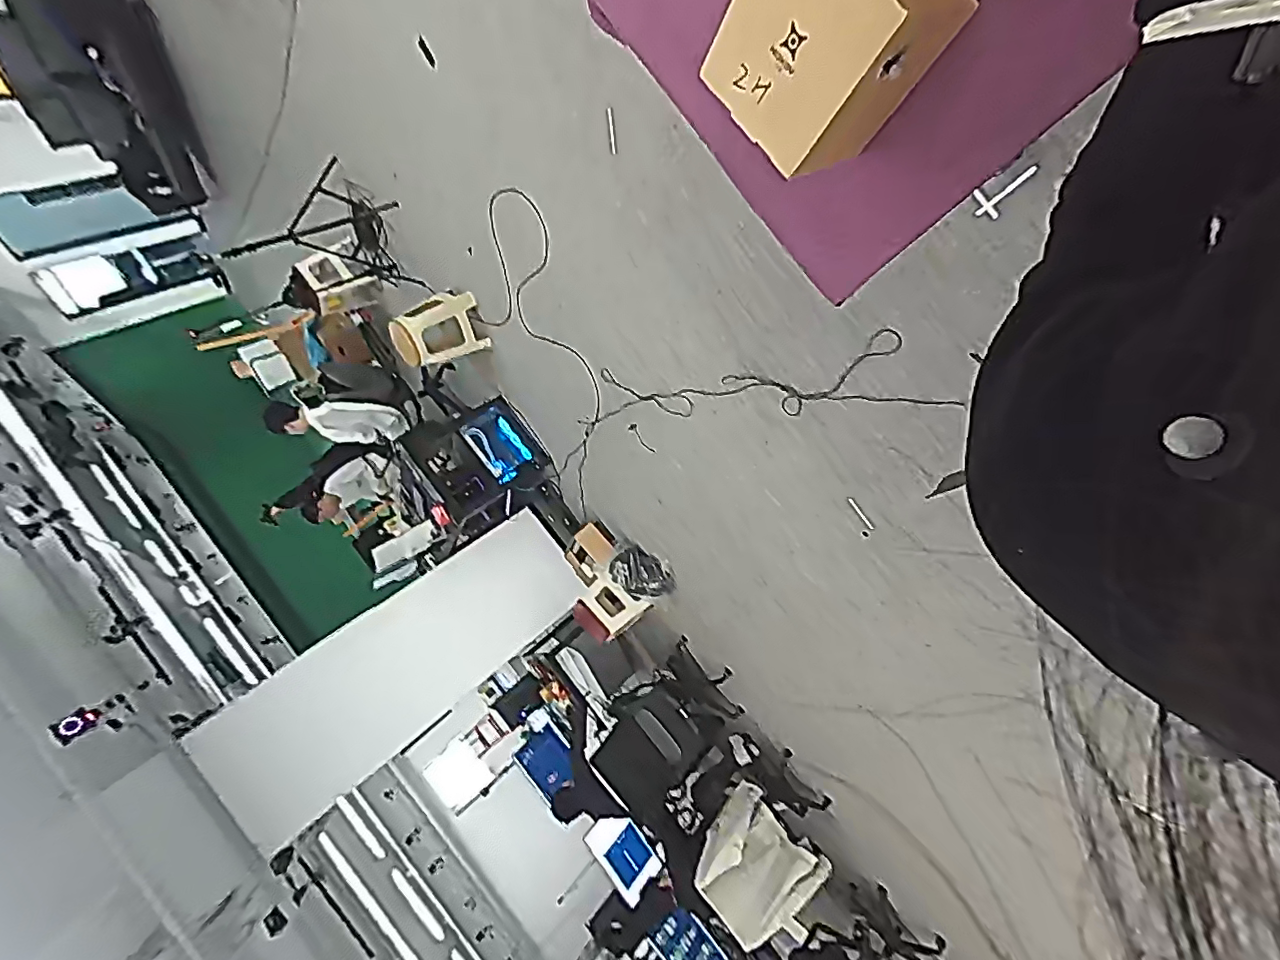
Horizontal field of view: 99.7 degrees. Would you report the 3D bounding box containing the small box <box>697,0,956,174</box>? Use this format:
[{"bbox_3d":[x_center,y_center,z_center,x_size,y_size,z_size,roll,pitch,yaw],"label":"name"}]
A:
[{"bbox_3d":[0.201,-0.476,0.579,0.168,0.176,0.179,52,149,4],"label":"small box"}]
